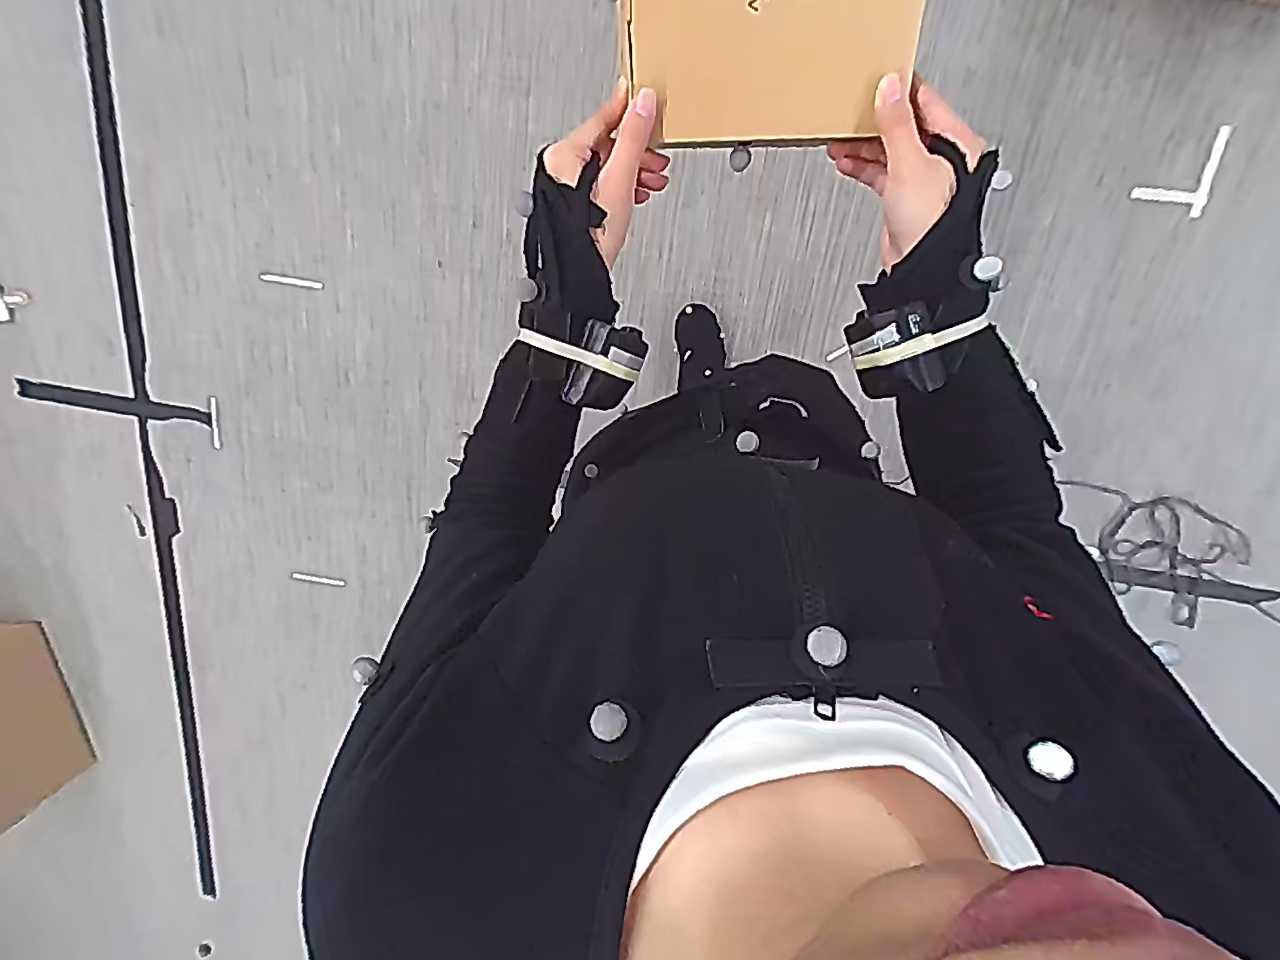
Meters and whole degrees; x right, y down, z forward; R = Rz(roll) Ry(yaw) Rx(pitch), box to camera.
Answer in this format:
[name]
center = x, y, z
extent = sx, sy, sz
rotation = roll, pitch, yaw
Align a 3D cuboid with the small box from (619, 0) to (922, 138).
[small box]
center = 0.075, -0.336, 0.370
extent = 0.179, 0.176, 0.168
rotation = -2, 121, -1
